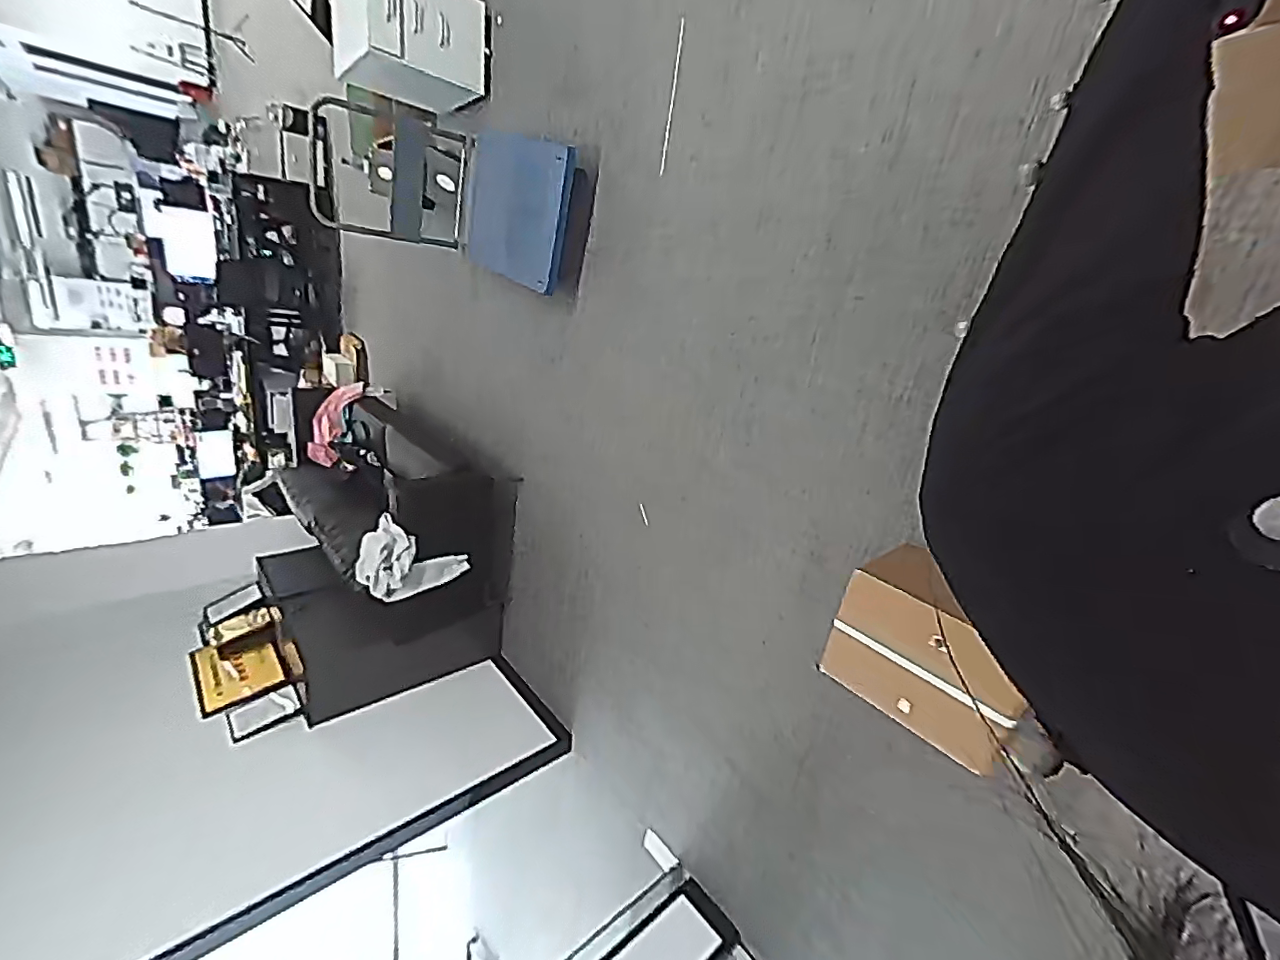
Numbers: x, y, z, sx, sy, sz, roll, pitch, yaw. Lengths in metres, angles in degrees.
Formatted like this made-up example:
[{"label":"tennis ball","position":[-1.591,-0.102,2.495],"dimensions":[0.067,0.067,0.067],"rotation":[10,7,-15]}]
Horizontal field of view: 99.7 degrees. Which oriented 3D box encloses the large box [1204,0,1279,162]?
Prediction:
[{"label":"large box","position":[0.726,-0.462,0.371],"dimensions":[0.408,0.320,0.320],"rotation":[23,107,45]}]
